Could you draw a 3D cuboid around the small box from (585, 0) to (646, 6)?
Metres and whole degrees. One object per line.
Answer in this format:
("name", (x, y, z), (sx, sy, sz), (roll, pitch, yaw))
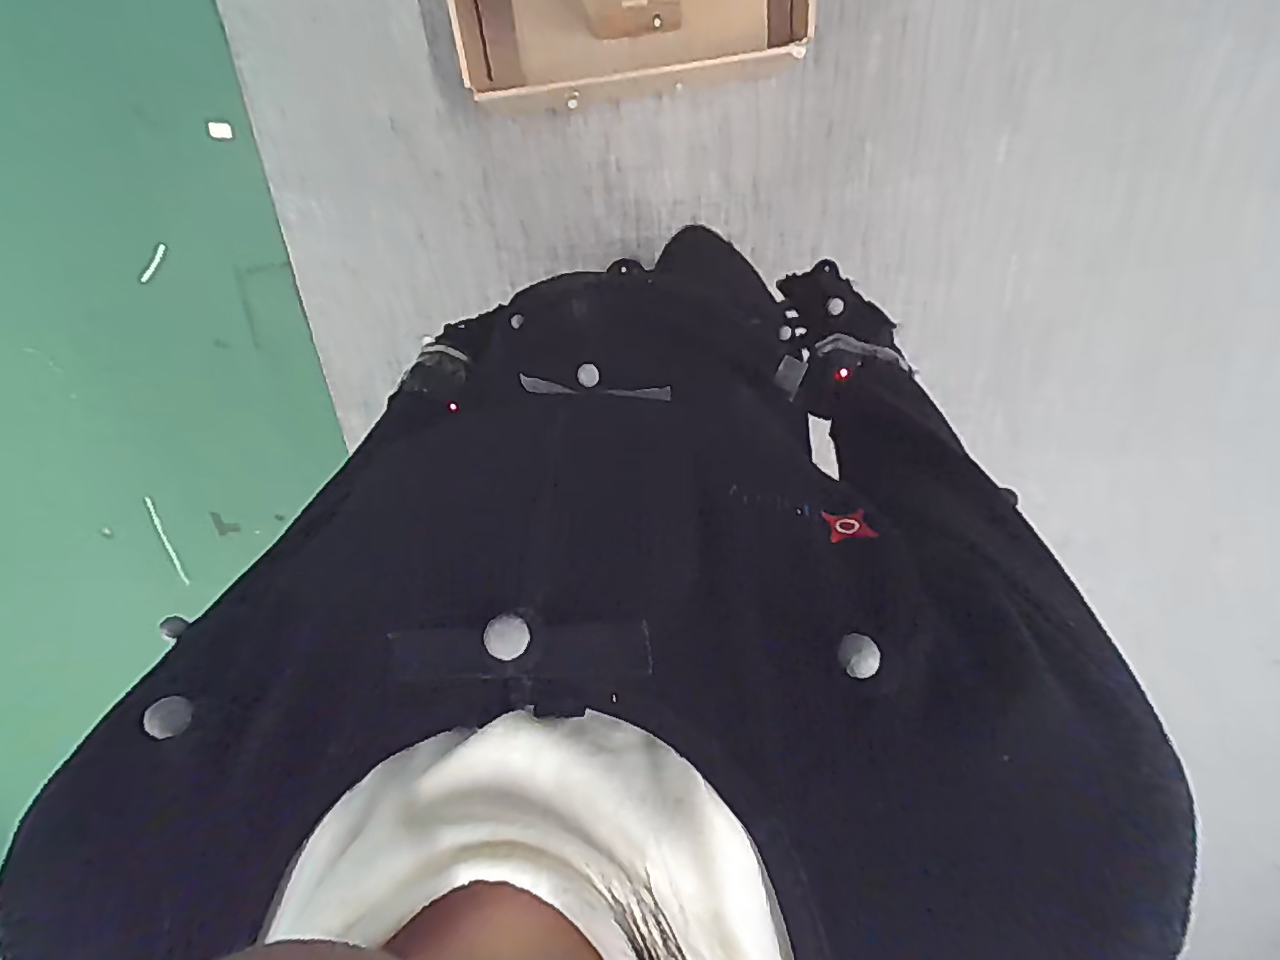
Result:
("small box", (-0.017, -0.831, 0.787), (0.179, 0.176, 0.168), (-4, 114, 6))

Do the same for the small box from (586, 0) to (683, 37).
("small box", (-0.009, -0.900, 0.935), (0.168, 0.176, 0.179), (-3, 113, 4))
